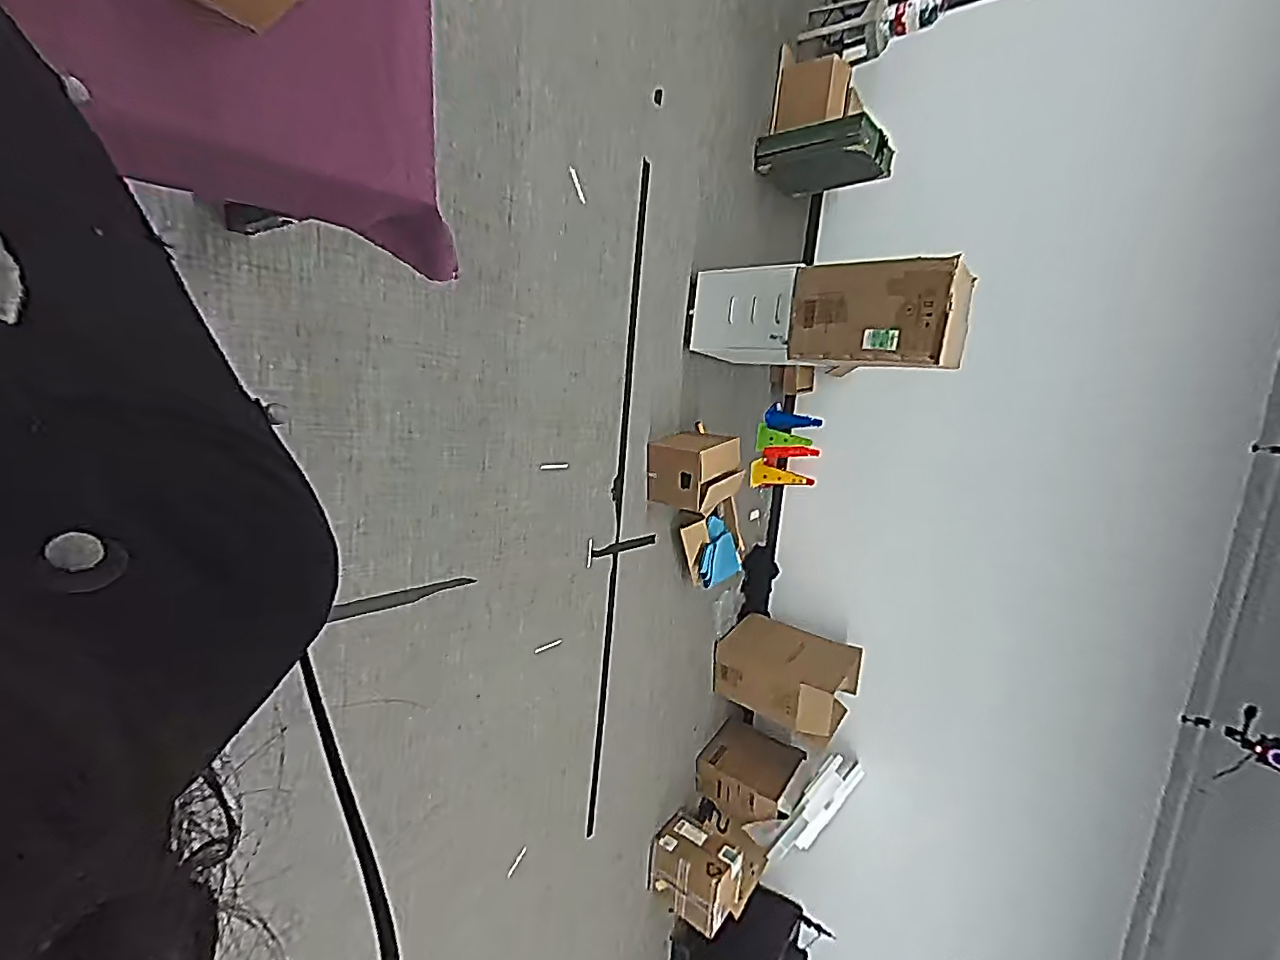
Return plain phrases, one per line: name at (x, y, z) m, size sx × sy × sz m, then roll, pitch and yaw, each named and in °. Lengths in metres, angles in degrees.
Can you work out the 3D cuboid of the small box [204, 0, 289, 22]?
small box at (-0.437, -0.613, 0.530) m, size 0.168 × 0.176 × 0.179 m, roll -6°, pitch 105°, yaw -53°
